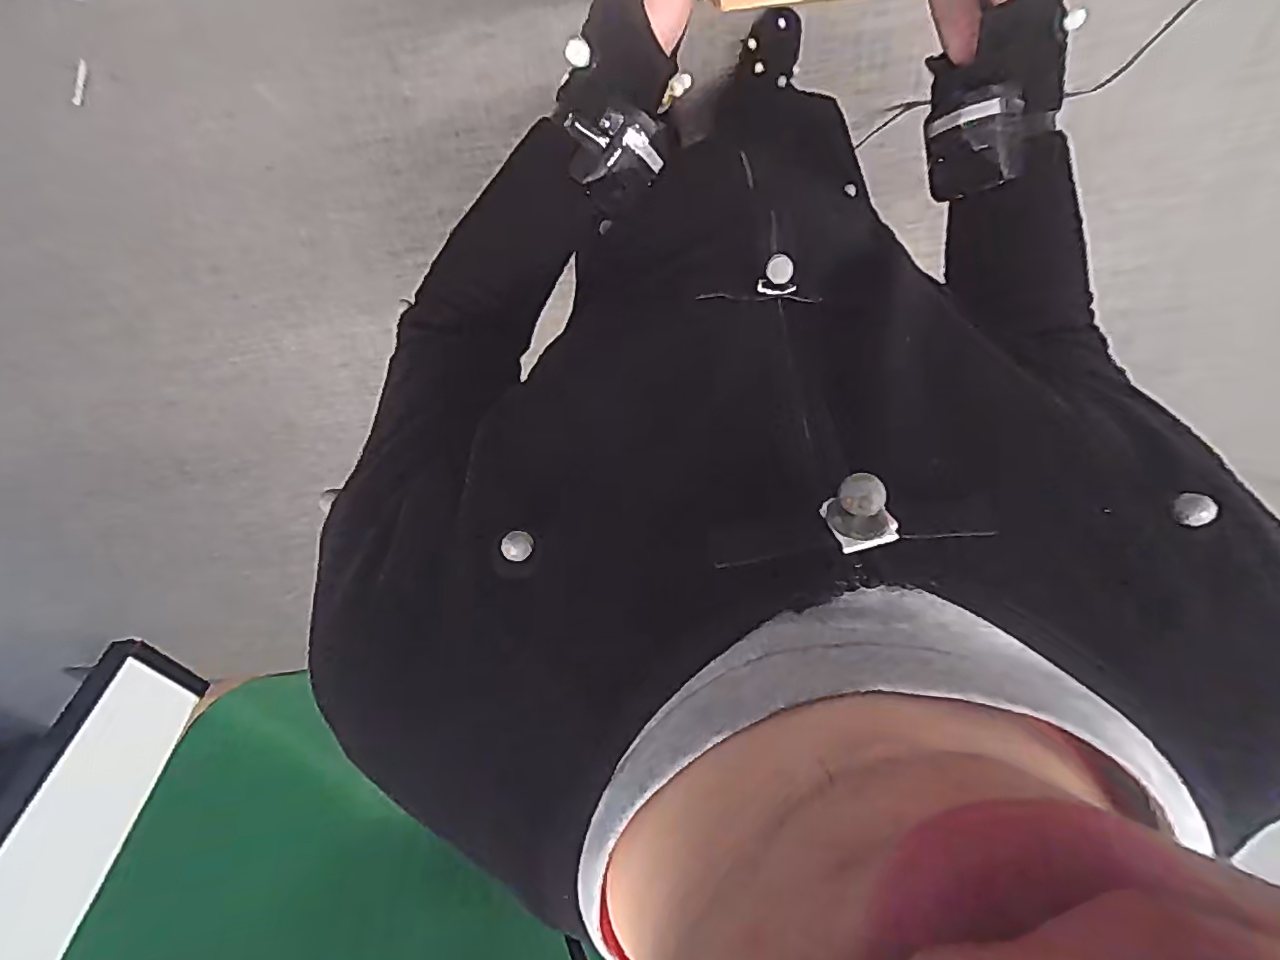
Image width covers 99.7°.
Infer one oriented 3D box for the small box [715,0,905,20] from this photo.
[{"bbox_3d":[0.113,-0.409,0.319,0.168,0.176,0.179,-7,141,0],"label":"small box"}]
